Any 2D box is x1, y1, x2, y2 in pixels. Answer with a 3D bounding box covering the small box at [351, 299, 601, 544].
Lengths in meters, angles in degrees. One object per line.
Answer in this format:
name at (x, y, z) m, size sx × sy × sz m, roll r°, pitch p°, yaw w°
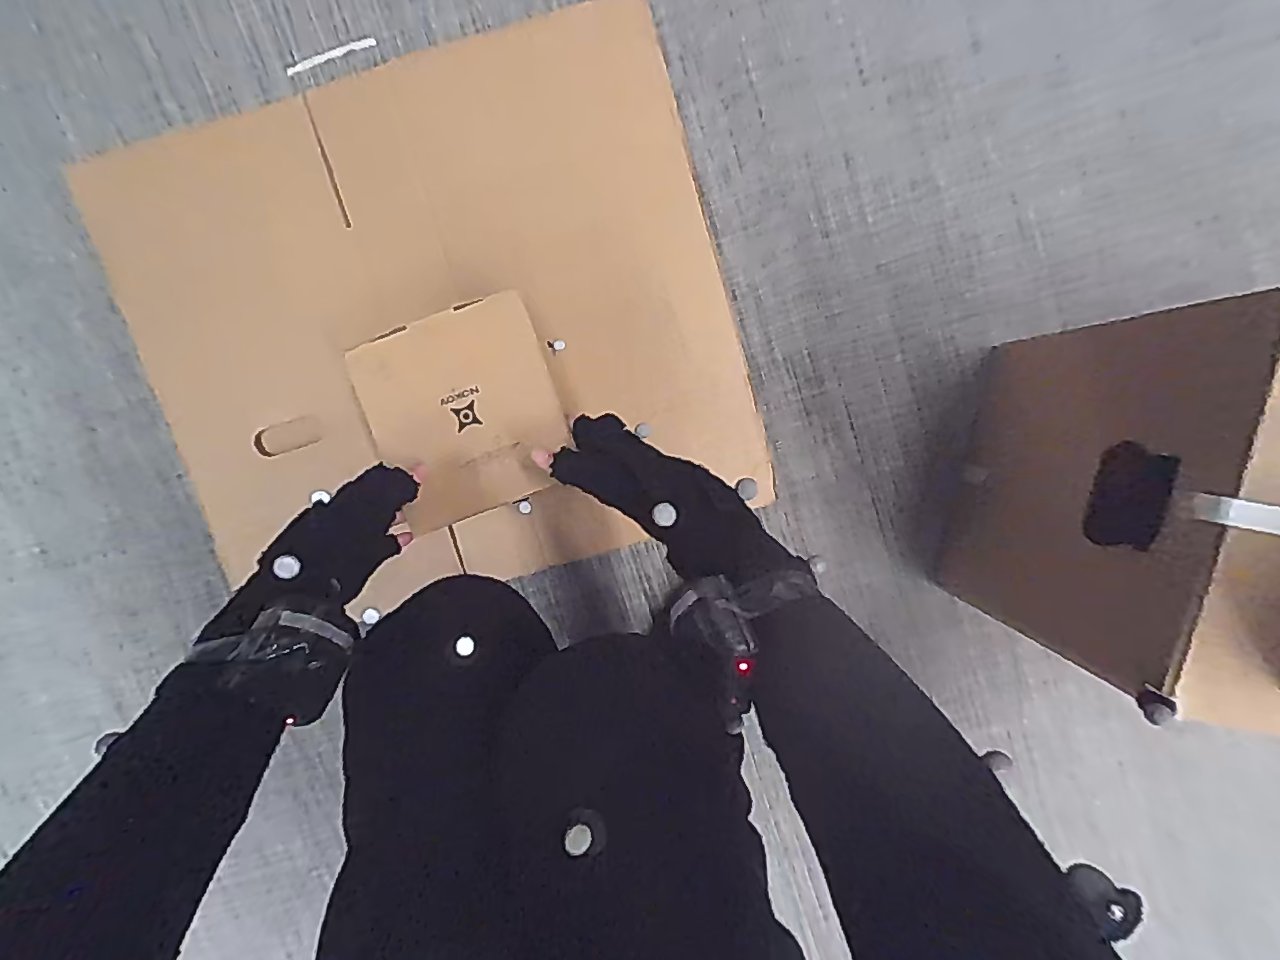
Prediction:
small box at (-0.149, -0.052, 0.553) m, size 0.168 × 0.176 × 0.179 m, roll -22°, pitch 92°, yaw 1°
